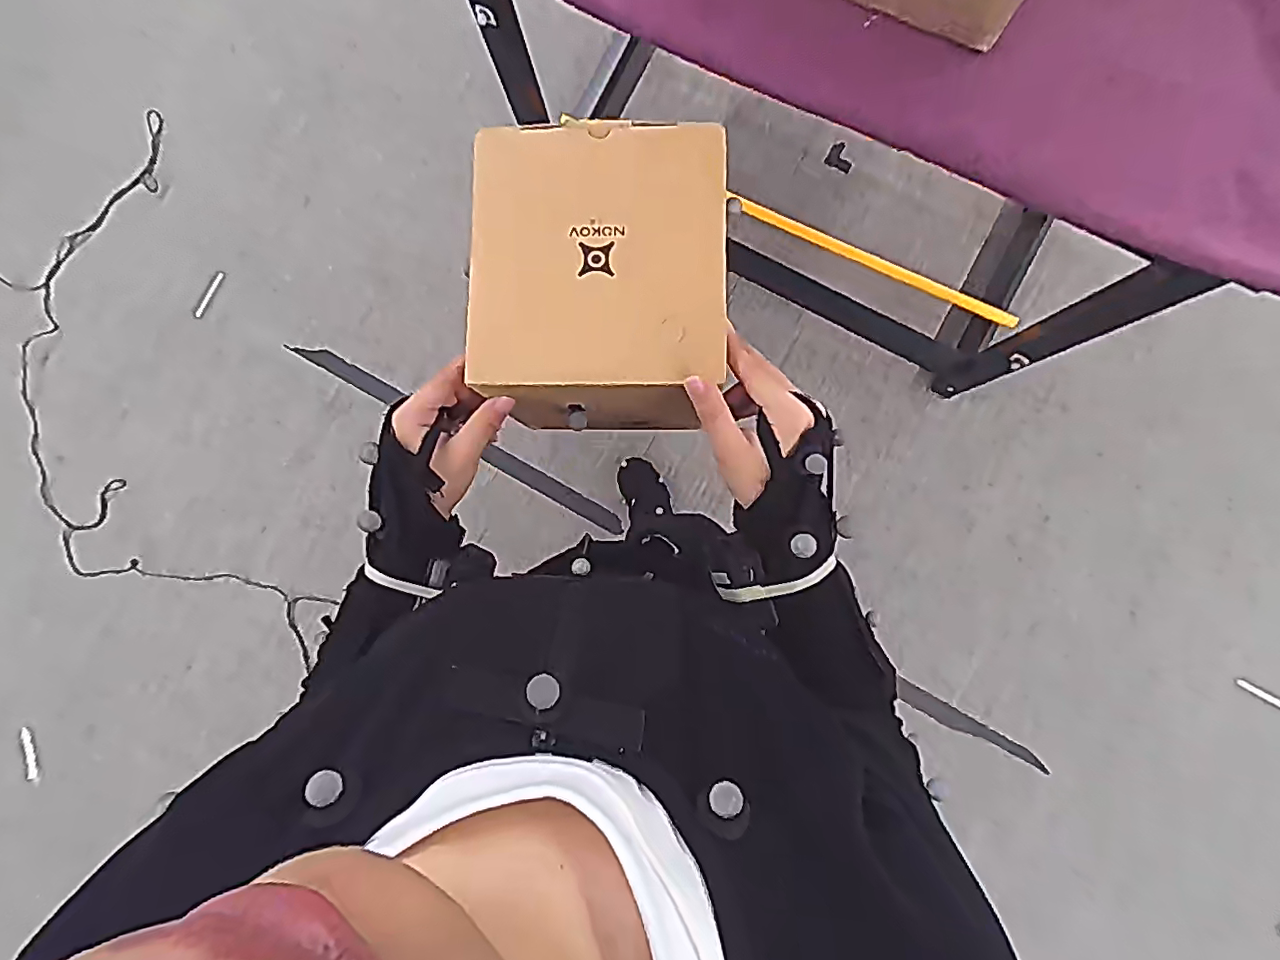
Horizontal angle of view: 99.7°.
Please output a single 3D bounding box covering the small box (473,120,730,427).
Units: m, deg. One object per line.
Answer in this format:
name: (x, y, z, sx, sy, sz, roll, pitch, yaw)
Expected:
small box: (-0.020, -0.139, 0.425, 0.168, 0.176, 0.179, 0, 84, 3)
